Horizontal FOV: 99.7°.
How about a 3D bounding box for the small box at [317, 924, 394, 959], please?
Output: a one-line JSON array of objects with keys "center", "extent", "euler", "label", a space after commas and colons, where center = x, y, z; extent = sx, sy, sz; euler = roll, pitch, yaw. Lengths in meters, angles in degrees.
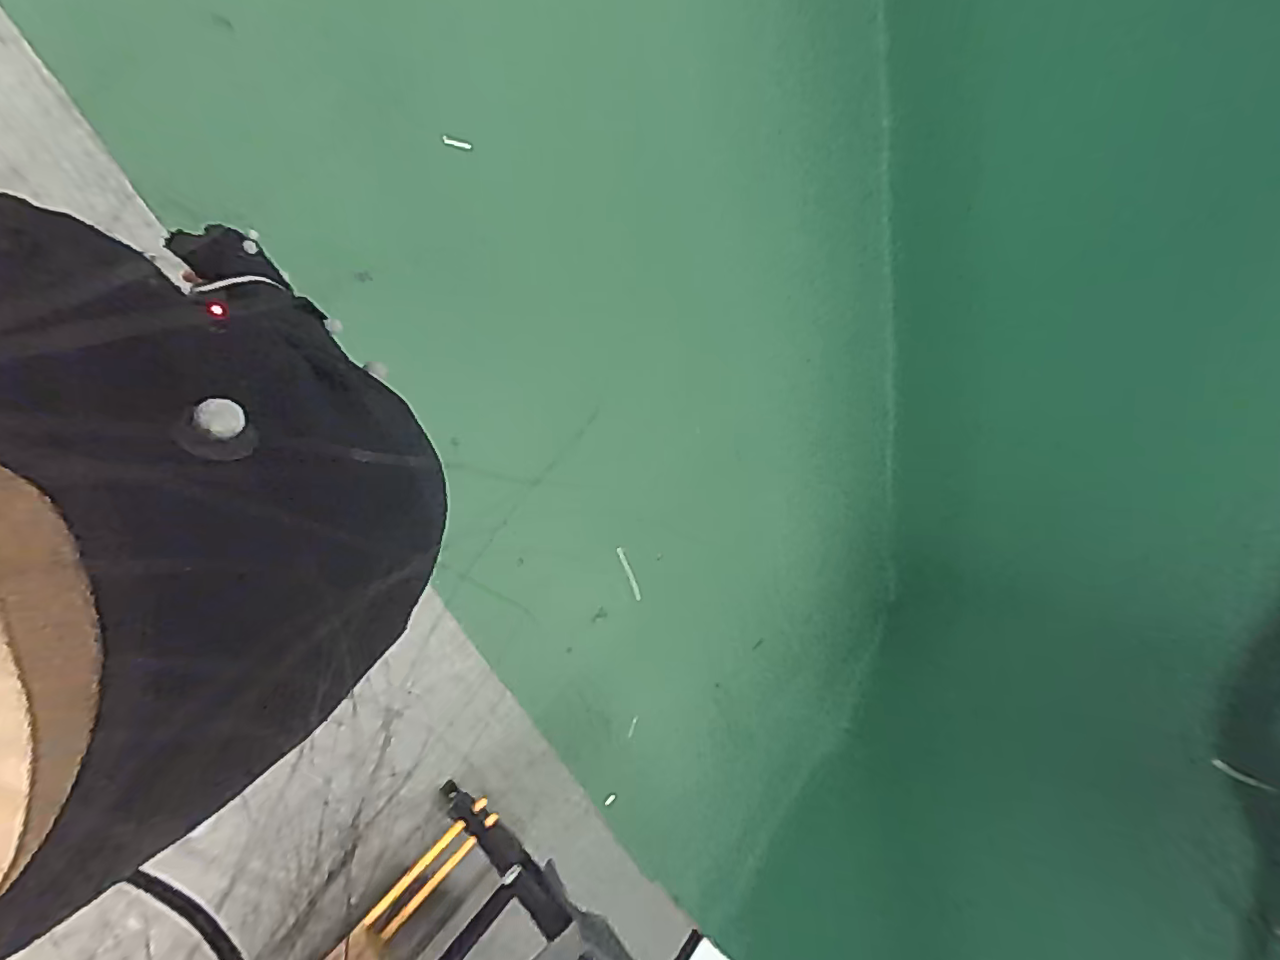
[{"center": [-0.842, 1.477, 1.604], "extent": [0.168, 0.176, 0.179], "euler": [-39, 126, -28], "label": "small box"}]
